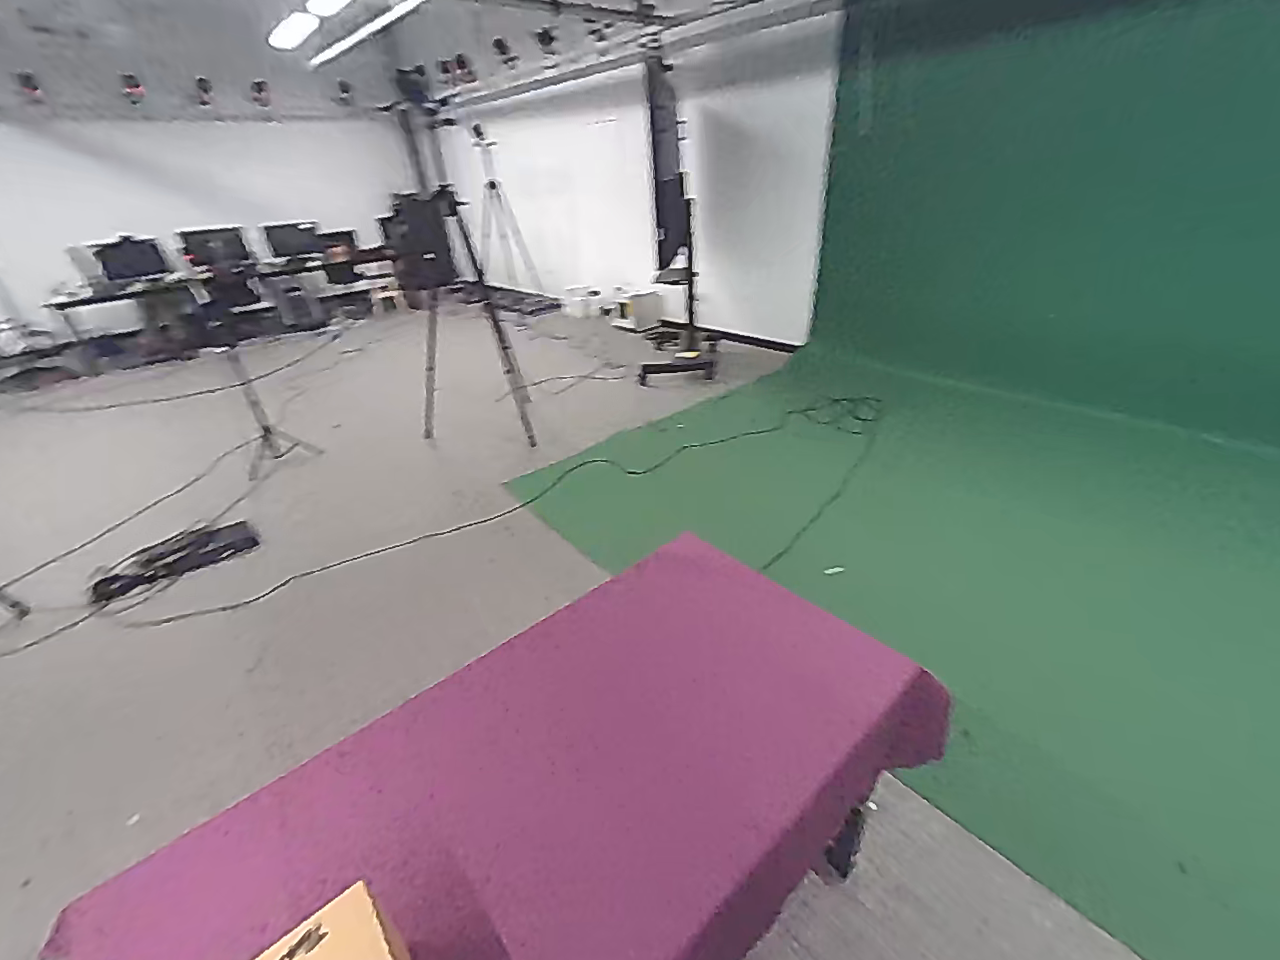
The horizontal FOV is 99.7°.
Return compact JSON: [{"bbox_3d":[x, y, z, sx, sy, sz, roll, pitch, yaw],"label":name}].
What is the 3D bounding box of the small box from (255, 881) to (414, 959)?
[{"bbox_3d":[-0.308,0.573,0.544,0.168,0.176,0.179,-26,37,-33],"label":"small box"}]
